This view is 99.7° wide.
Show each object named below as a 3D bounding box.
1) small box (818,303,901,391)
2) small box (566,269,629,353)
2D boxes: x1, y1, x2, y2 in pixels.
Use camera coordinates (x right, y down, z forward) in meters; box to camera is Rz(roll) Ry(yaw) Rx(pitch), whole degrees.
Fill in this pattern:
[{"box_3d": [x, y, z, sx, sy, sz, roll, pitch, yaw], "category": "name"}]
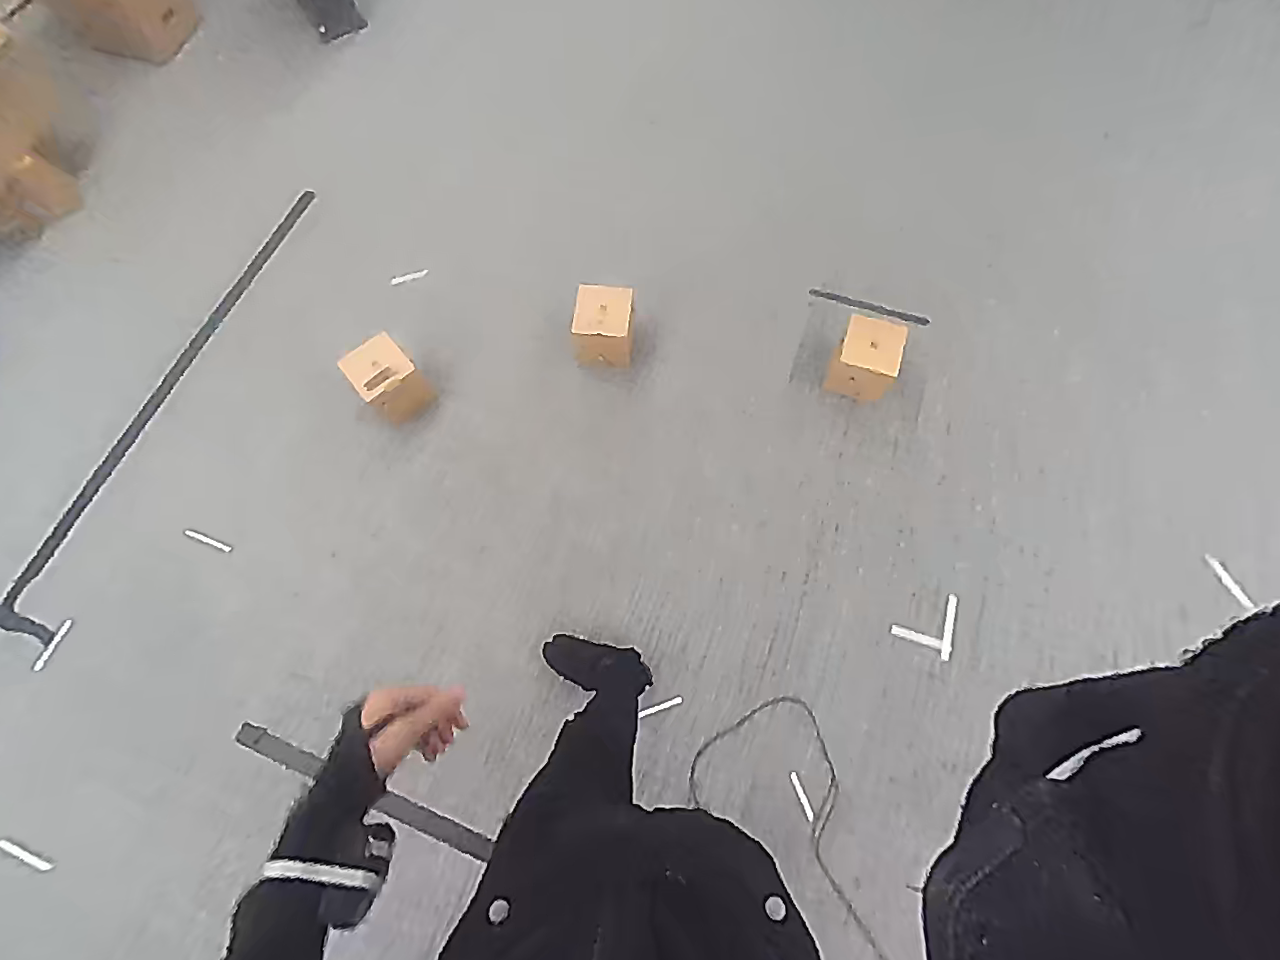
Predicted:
[{"box_3d": [0.651, -0.392, 1.622, 0.168, 0.176, 0.179, 18, 72, 6], "category": "small box"}, {"box_3d": [-0.124, -0.515, 1.660, 0.168, 0.176, 0.179, 7, 73, 2], "category": "small box"}]
